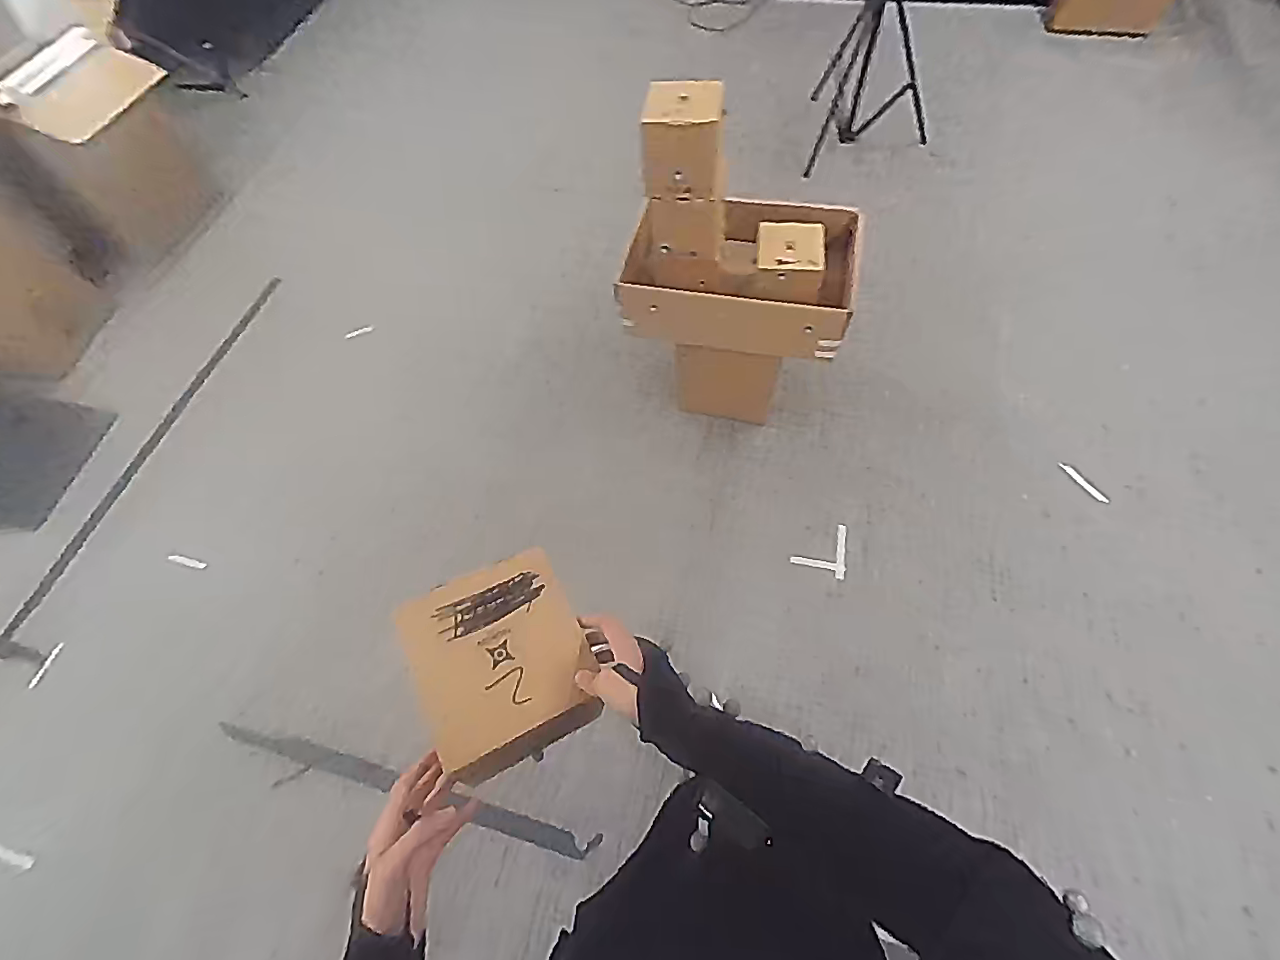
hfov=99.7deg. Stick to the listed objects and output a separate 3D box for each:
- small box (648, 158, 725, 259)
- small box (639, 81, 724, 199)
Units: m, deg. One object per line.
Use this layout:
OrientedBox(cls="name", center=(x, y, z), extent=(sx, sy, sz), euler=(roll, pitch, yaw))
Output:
OrientedBox(cls="small box", center=(0.121, -0.683, 1.366), extent=(0.168, 0.176, 0.179), euler=(7, 61, 9))
OrientedBox(cls="small box", center=(0.096, -0.770, 1.228), extent=(0.168, 0.176, 0.179), euler=(5, 61, 9))
